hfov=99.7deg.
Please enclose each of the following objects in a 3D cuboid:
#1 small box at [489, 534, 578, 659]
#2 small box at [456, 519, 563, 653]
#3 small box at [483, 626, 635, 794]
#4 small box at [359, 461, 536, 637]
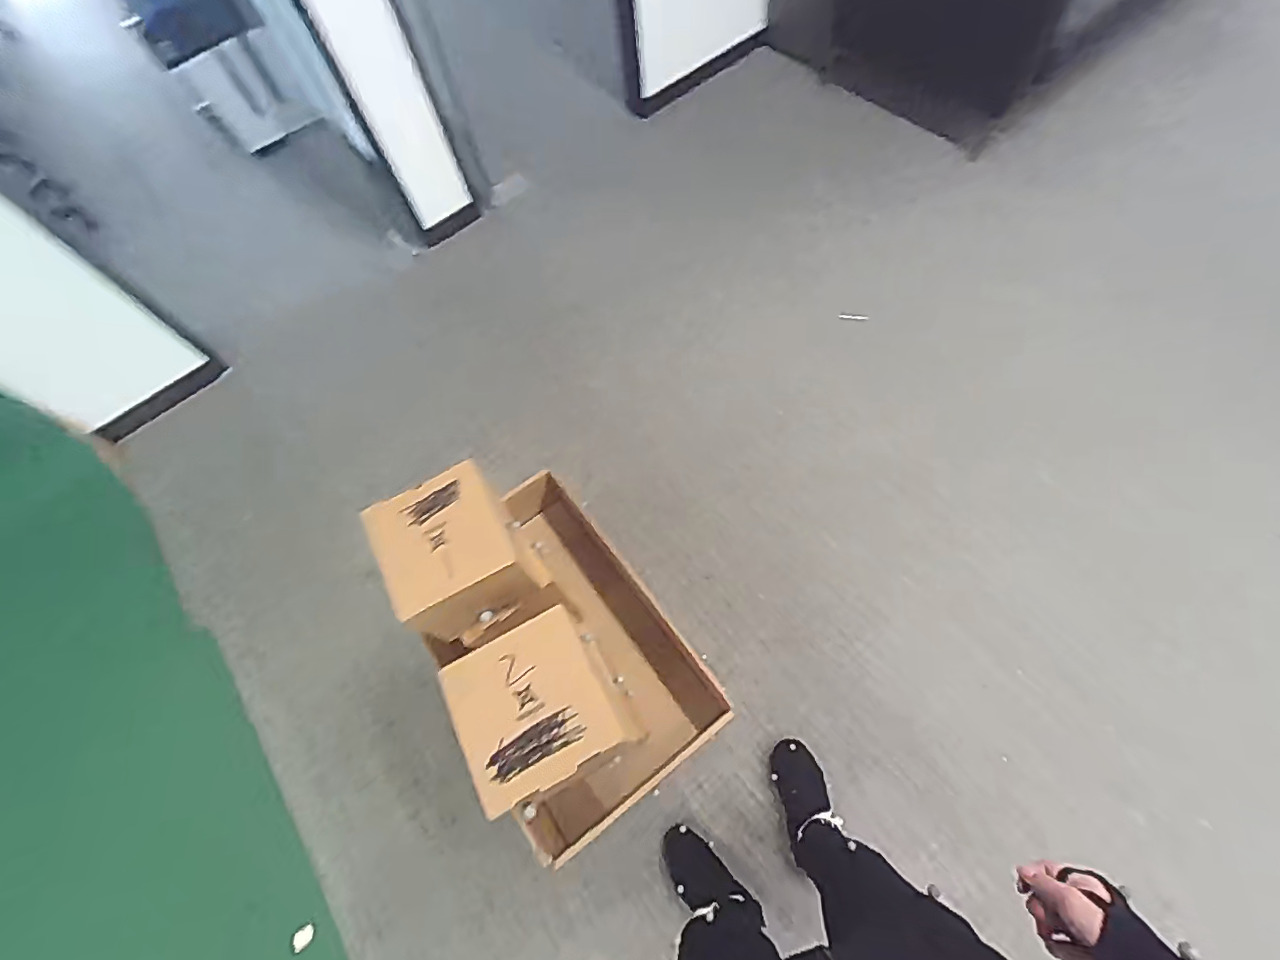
[{"bbox_3d":[-0.248,0.244,1.094,0.168,0.176,0.179,-36,68,-12],"label":"small box"},{"bbox_3d":[-0.258,0.178,0.946,0.168,0.176,0.179,-36,69,-13],"label":"small box"},{"bbox_3d":[-0.117,0.356,0.844,0.168,0.176,0.179,-26,64,-8],"label":"small box"},{"bbox_3d":[-0.274,0.108,0.799,0.168,0.176,0.179,-28,68,-9],"label":"small box"}]
